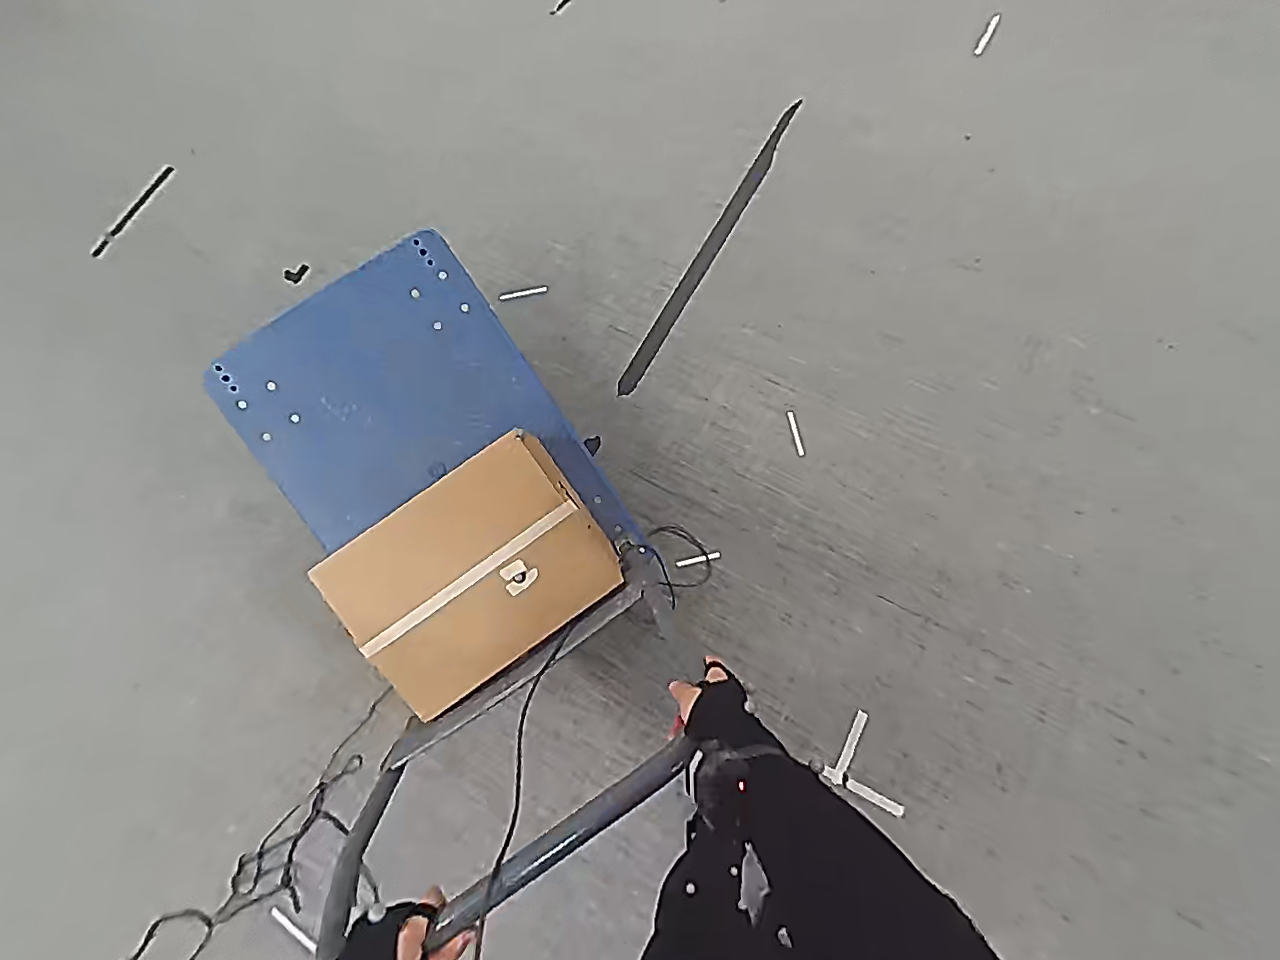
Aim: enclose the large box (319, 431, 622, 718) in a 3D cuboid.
[{"bbox_3d":[-0.291,0.155,1.040,0.408,0.320,0.320,-36,96,-4],"label":"large box"}]
